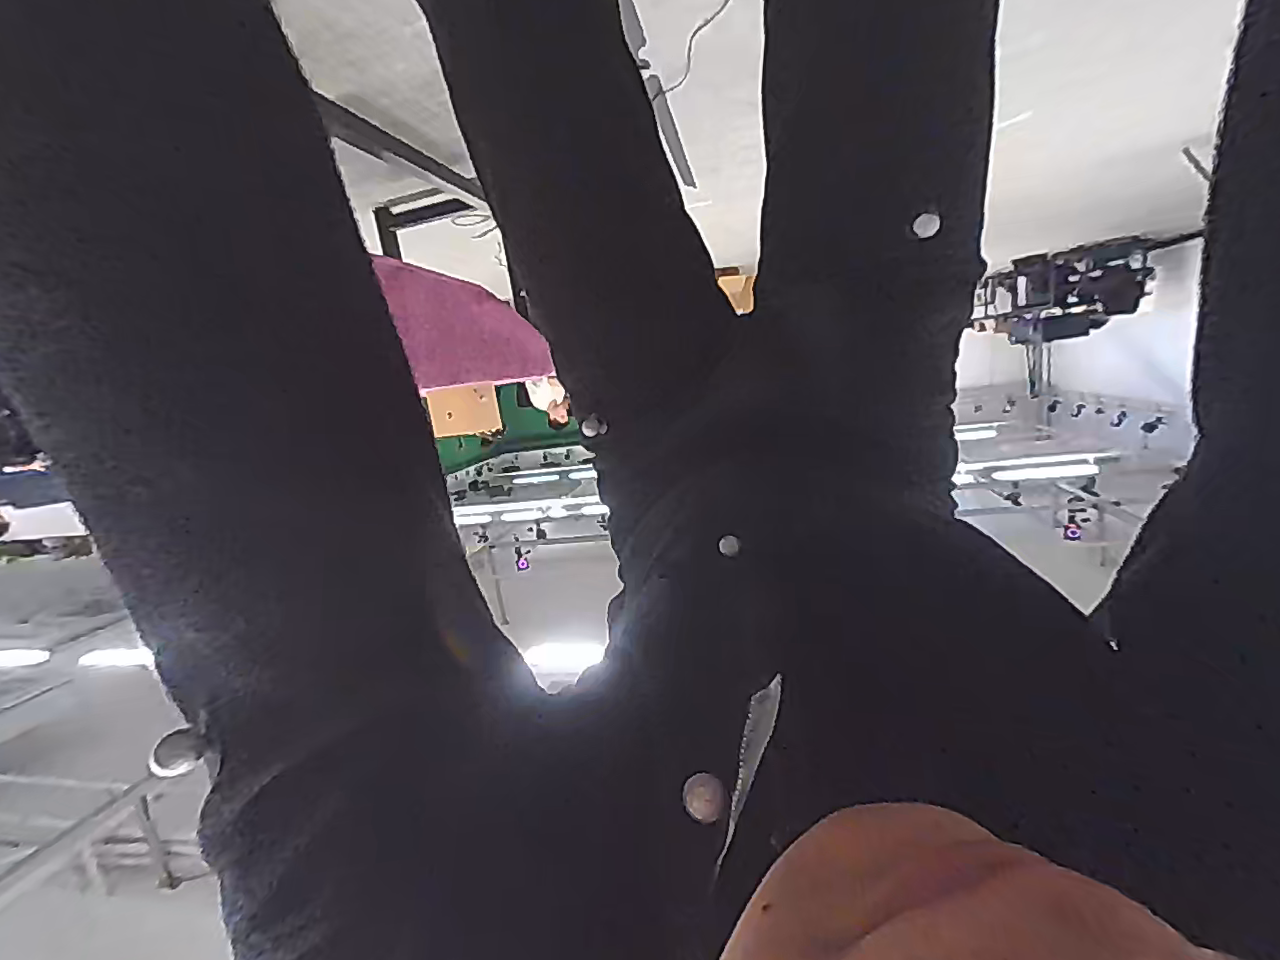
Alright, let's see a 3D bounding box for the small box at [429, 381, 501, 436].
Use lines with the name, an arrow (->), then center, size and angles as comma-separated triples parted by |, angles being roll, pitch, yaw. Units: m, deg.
small box -> -0.632, -0.260, 1.943 | 0.179, 0.176, 0.168 | -4, -167, 27
